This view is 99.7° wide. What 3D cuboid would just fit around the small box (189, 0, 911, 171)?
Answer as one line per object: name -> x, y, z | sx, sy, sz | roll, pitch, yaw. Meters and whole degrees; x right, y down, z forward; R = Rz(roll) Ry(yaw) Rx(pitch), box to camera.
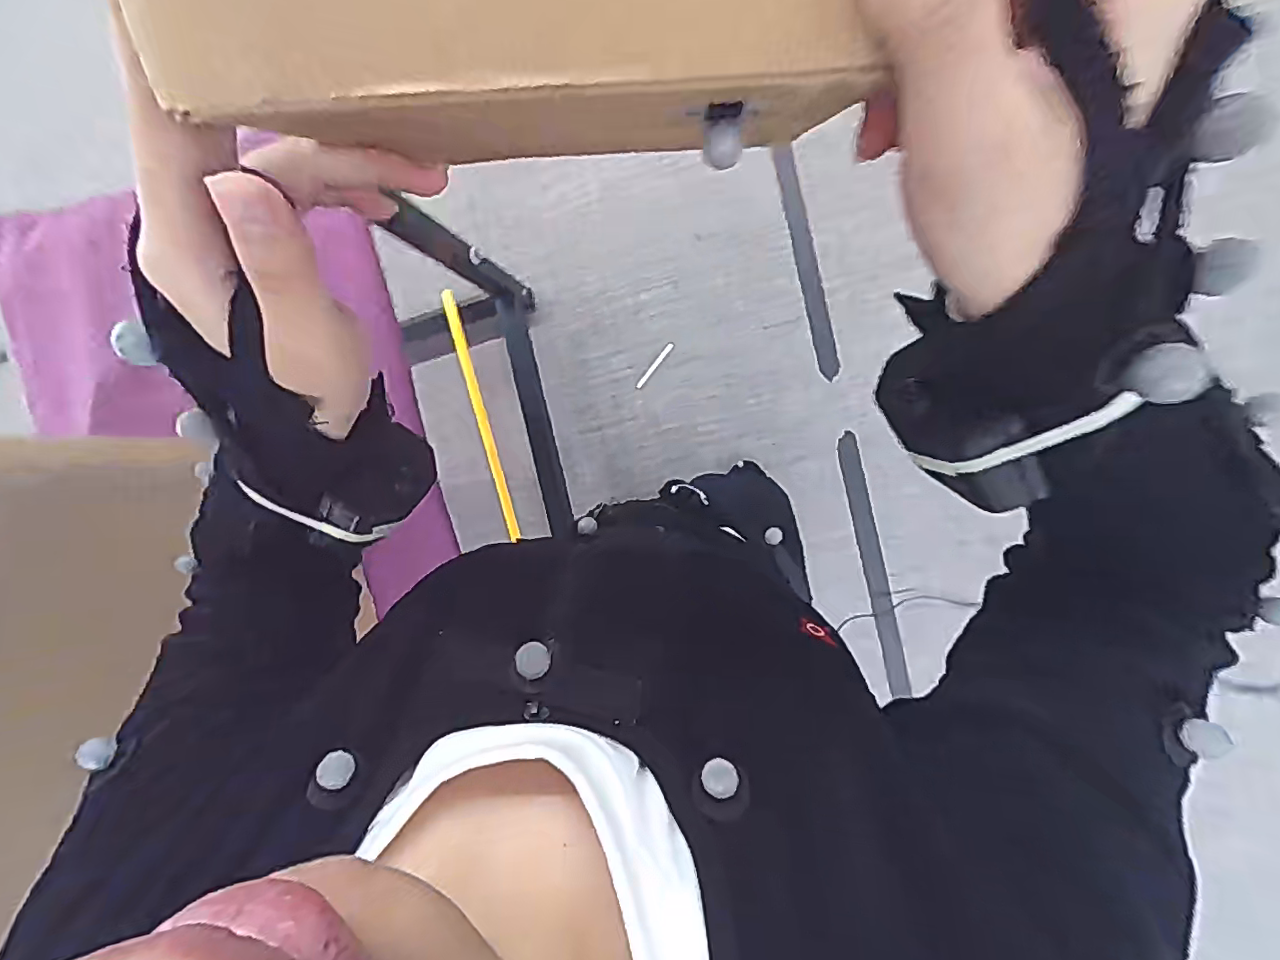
small box -> -0.020, -0.201, 0.174 | 0.179, 0.176, 0.168 | 0, 117, 4
